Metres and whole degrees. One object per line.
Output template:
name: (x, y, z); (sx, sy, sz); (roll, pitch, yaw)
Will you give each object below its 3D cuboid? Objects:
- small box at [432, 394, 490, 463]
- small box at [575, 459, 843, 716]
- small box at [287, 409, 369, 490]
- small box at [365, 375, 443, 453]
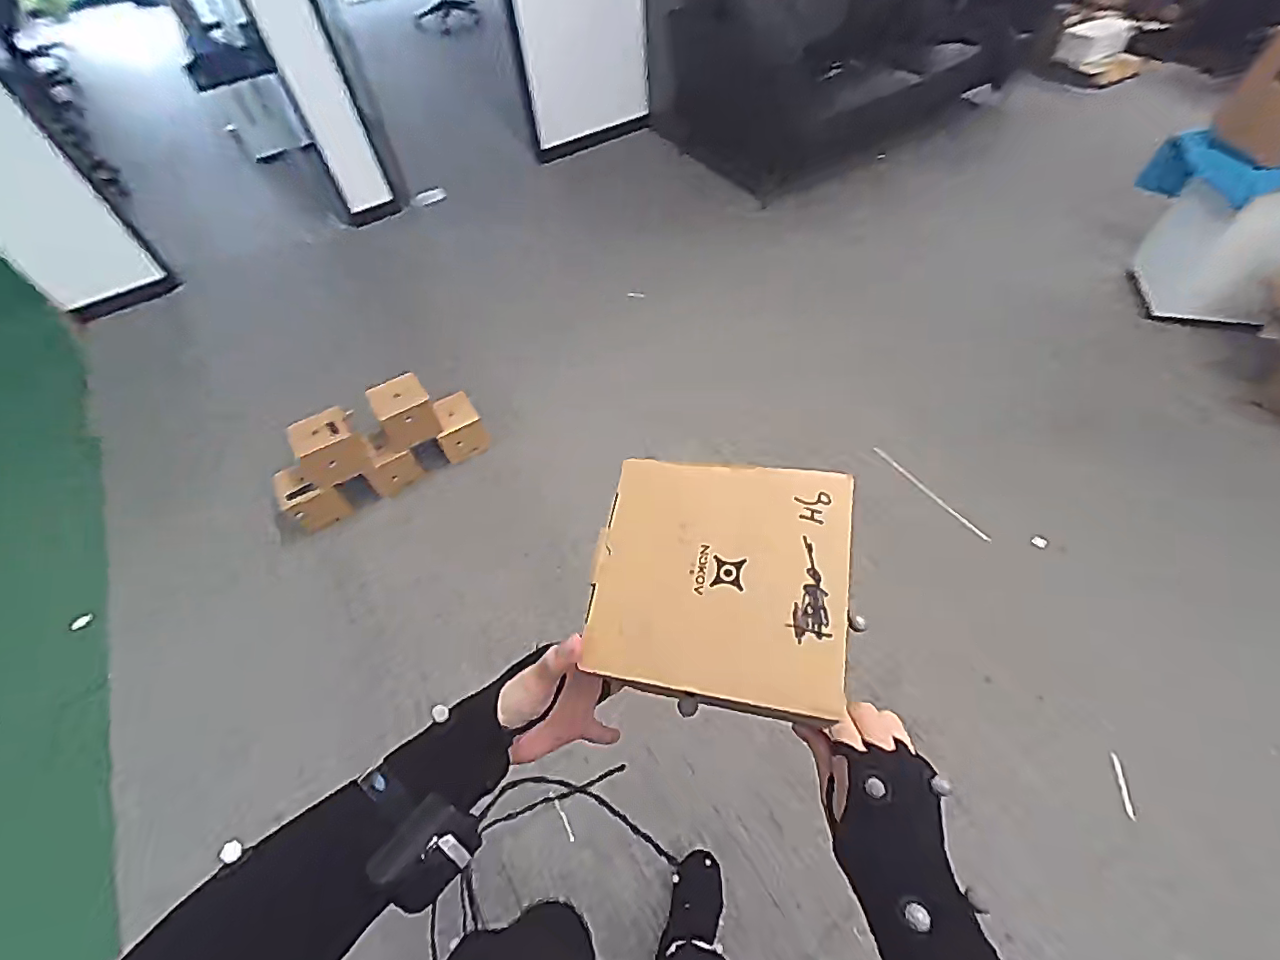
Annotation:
small box: (-0.691, -0.187, 2.047); (0.168, 0.176, 0.179); (-29, 57, -16)
small box: (0.070, 0.096, 0.455); (0.179, 0.176, 0.168); (4, 65, 17)
small box: (-1.028, -0.099, 1.799); (0.179, 0.176, 0.168); (-28, 57, -15)
small box: (-0.816, -0.225, 1.879); (0.179, 0.176, 0.168); (-29, 58, -19)
